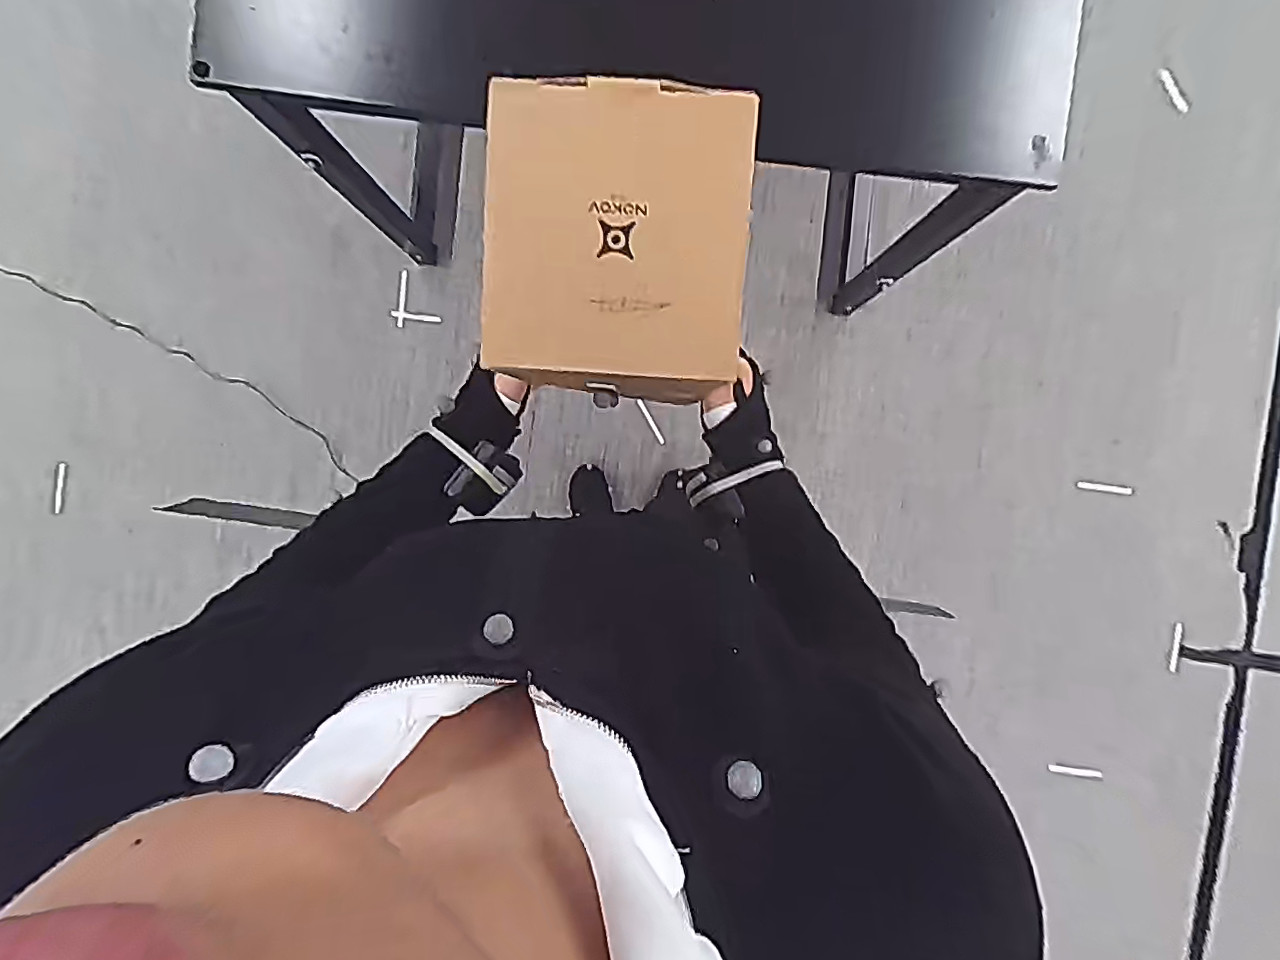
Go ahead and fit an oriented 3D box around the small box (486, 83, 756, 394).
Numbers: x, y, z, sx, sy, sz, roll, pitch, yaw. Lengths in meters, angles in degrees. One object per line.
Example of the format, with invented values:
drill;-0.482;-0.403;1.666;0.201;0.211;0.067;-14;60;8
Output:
small box;-0.014;-0.164;0.425;0.168;0.176;0.179;3;97;0
